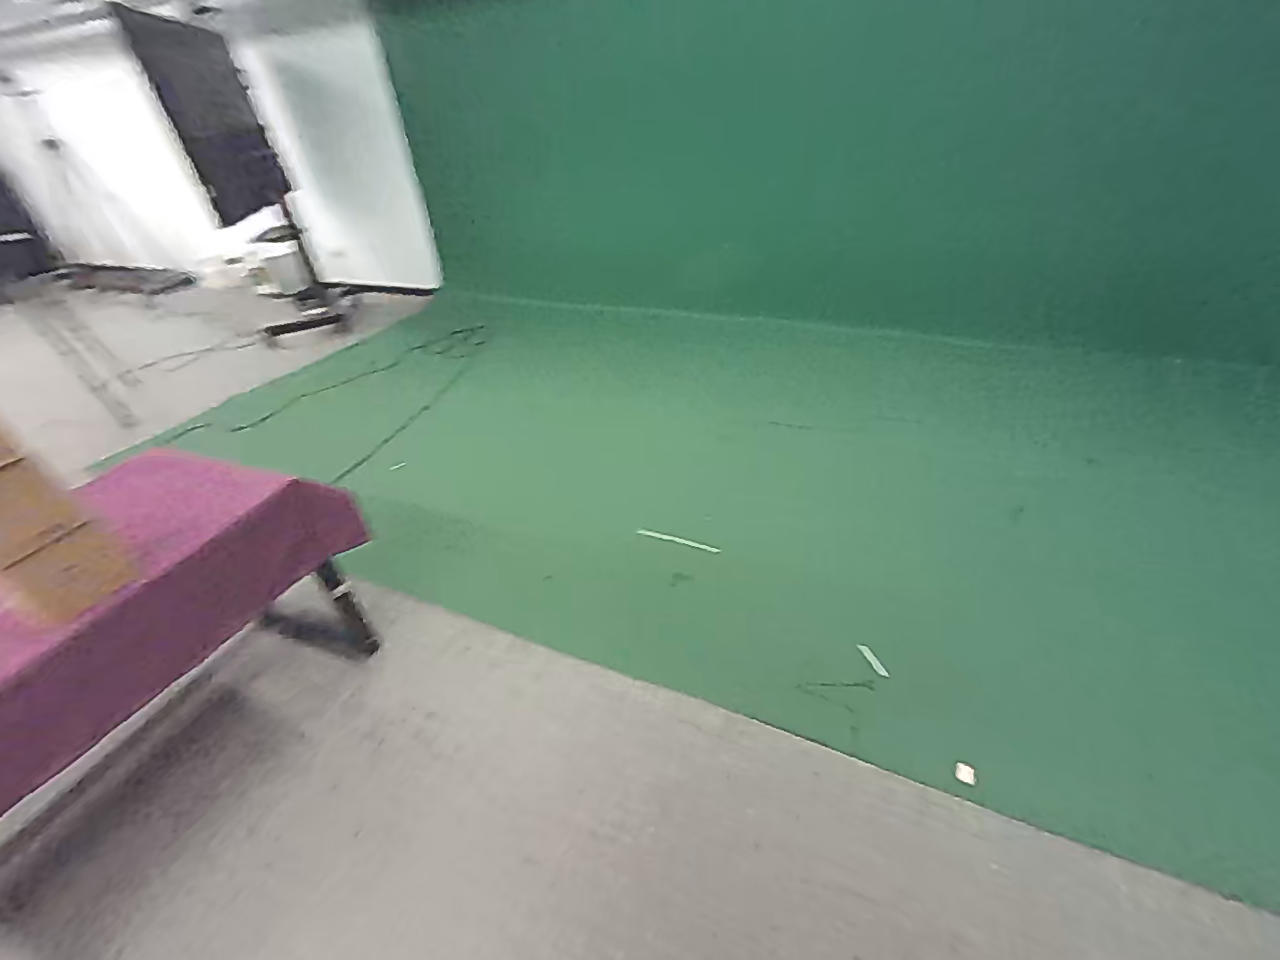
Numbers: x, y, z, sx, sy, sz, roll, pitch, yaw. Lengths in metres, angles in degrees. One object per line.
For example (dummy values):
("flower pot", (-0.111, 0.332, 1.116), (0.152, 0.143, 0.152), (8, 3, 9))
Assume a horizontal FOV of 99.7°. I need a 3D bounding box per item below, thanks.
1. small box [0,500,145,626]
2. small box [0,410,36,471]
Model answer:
("small box", (-1.213, 0.173, 1.145), (0.168, 0.176, 0.179), (11, 41, 22))
("small box", (-1.237, -0.079, 0.934), (0.179, 0.176, 0.168), (8, 39, 21))
